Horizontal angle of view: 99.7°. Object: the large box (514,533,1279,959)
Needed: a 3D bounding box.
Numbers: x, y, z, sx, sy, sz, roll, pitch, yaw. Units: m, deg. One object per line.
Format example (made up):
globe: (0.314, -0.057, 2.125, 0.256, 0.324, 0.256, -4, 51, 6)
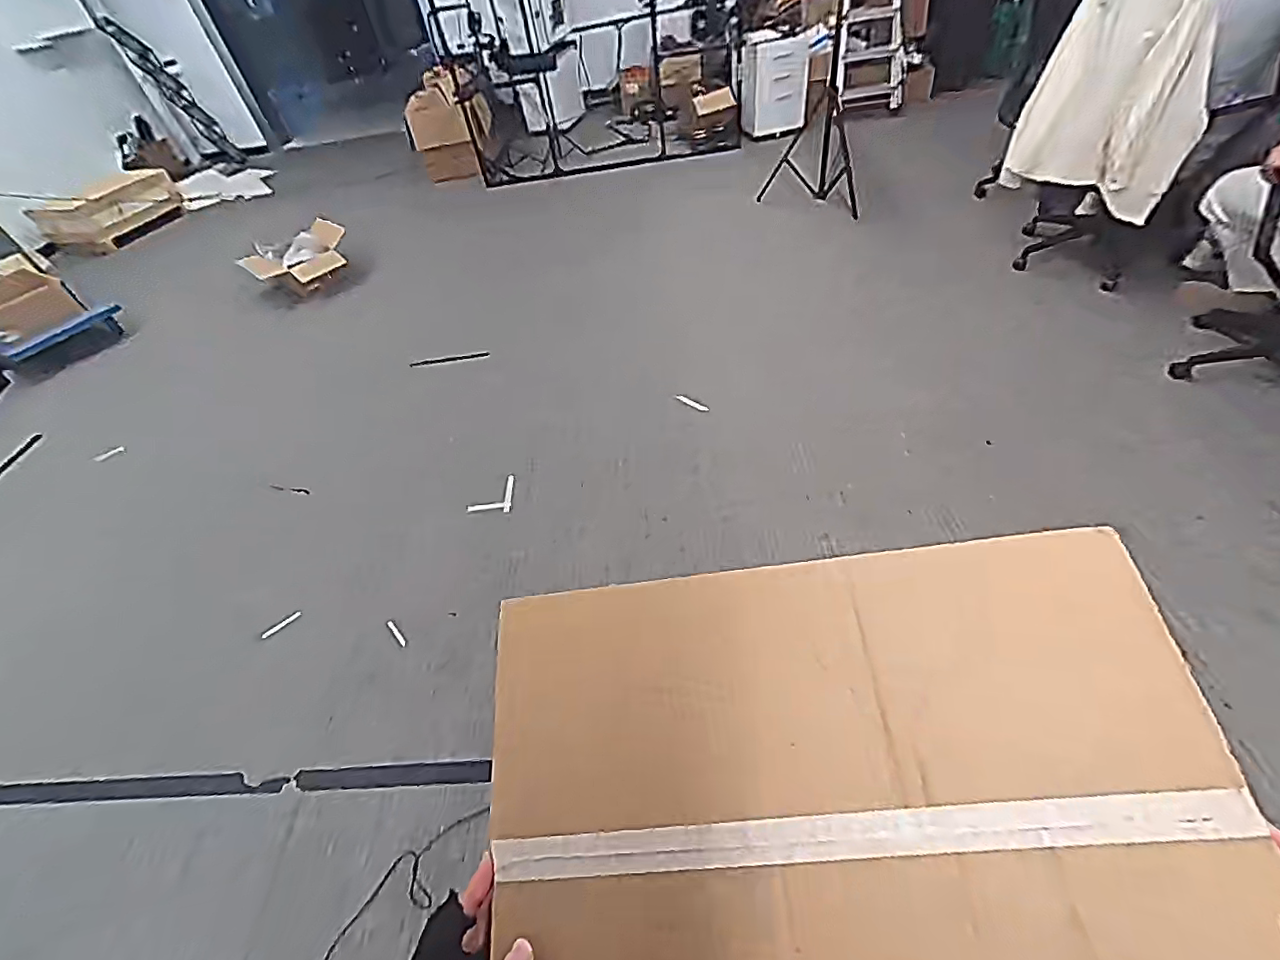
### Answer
large box: (0.145, 0.266, 0.436, 0.408, 0.320, 0.320, -9, 64, 8)
